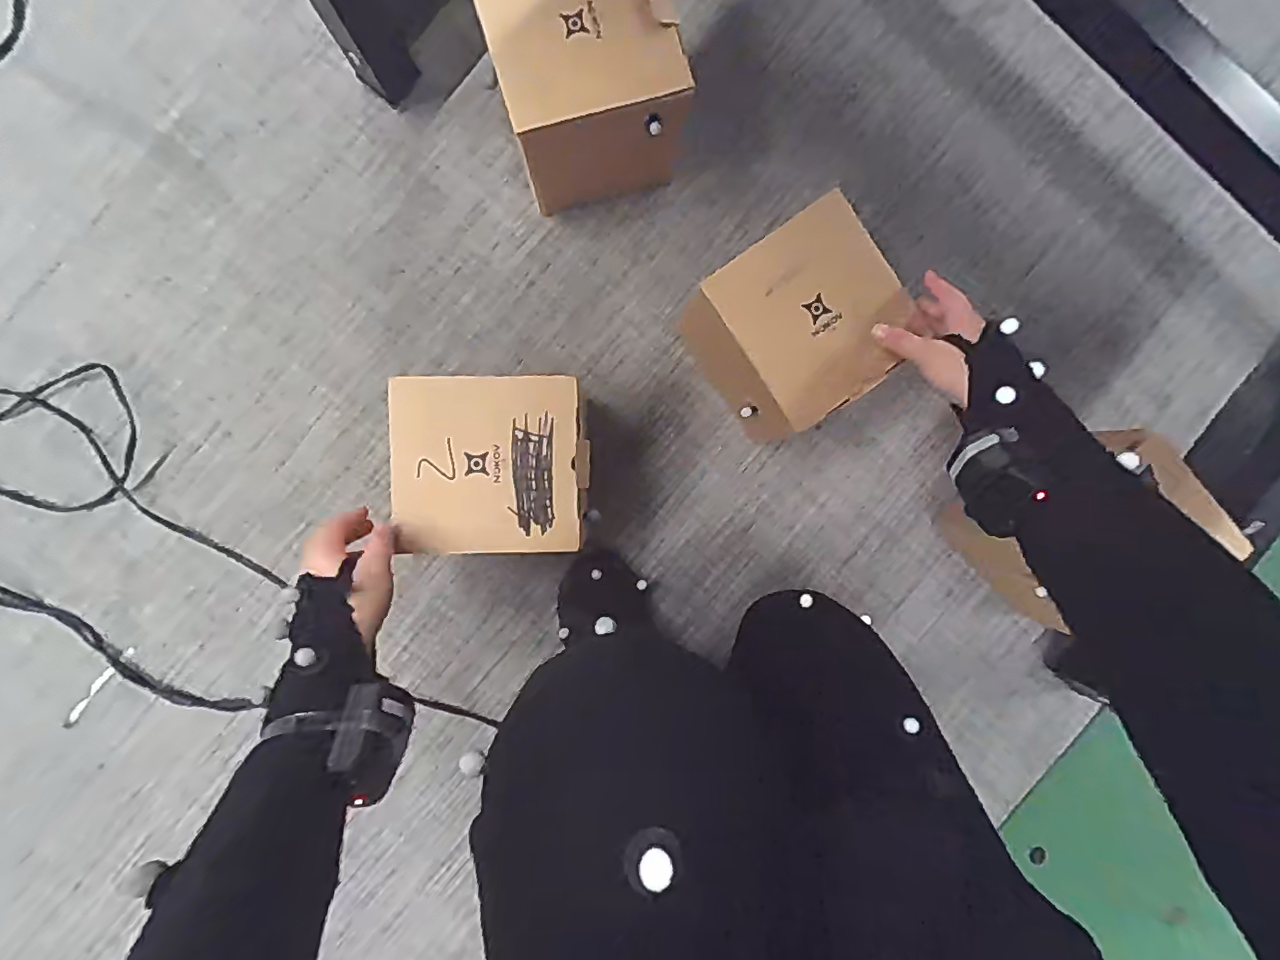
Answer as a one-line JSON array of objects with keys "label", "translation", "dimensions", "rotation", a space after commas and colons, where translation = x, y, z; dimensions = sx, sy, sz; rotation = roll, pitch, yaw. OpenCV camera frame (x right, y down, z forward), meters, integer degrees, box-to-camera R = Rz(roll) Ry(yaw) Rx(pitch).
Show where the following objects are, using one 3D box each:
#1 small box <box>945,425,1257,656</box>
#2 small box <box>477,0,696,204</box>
[{"label": "small box", "translation": [0.499, 0.059, 0.615], "dimensions": [0.168, 0.176, 0.179], "rotation": [-44, 95, -1]}, {"label": "small box", "translation": [-0.056, -0.423, 0.570], "dimensions": [0.179, 0.176, 0.168], "rotation": [-17, 93, -3]}]
